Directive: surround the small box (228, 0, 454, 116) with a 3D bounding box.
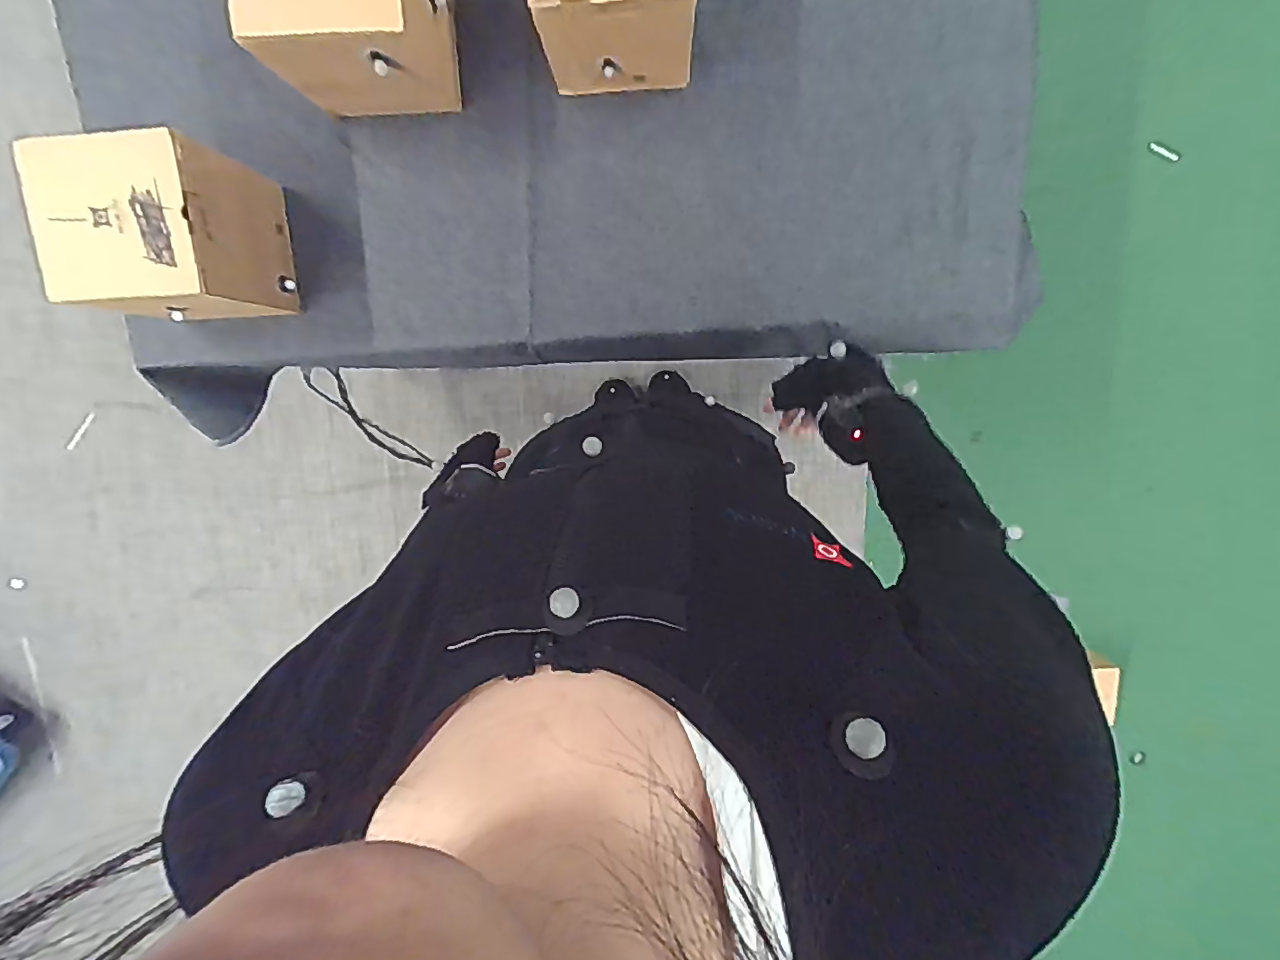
[{"bbox_3d":[-0.318,-0.532,0.598,0.179,0.176,0.168,-1,101,1],"label":"small box"}]

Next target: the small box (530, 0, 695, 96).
[{"bbox_3d":[-0.030,-0.562,0.591,0.168,0.176,0.179,-3,101,1],"label":"small box"}]

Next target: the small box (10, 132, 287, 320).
[{"bbox_3d":[-0.558,-0.288,0.647,0.179,0.176,0.168,-3,99,2],"label":"small box"}]
